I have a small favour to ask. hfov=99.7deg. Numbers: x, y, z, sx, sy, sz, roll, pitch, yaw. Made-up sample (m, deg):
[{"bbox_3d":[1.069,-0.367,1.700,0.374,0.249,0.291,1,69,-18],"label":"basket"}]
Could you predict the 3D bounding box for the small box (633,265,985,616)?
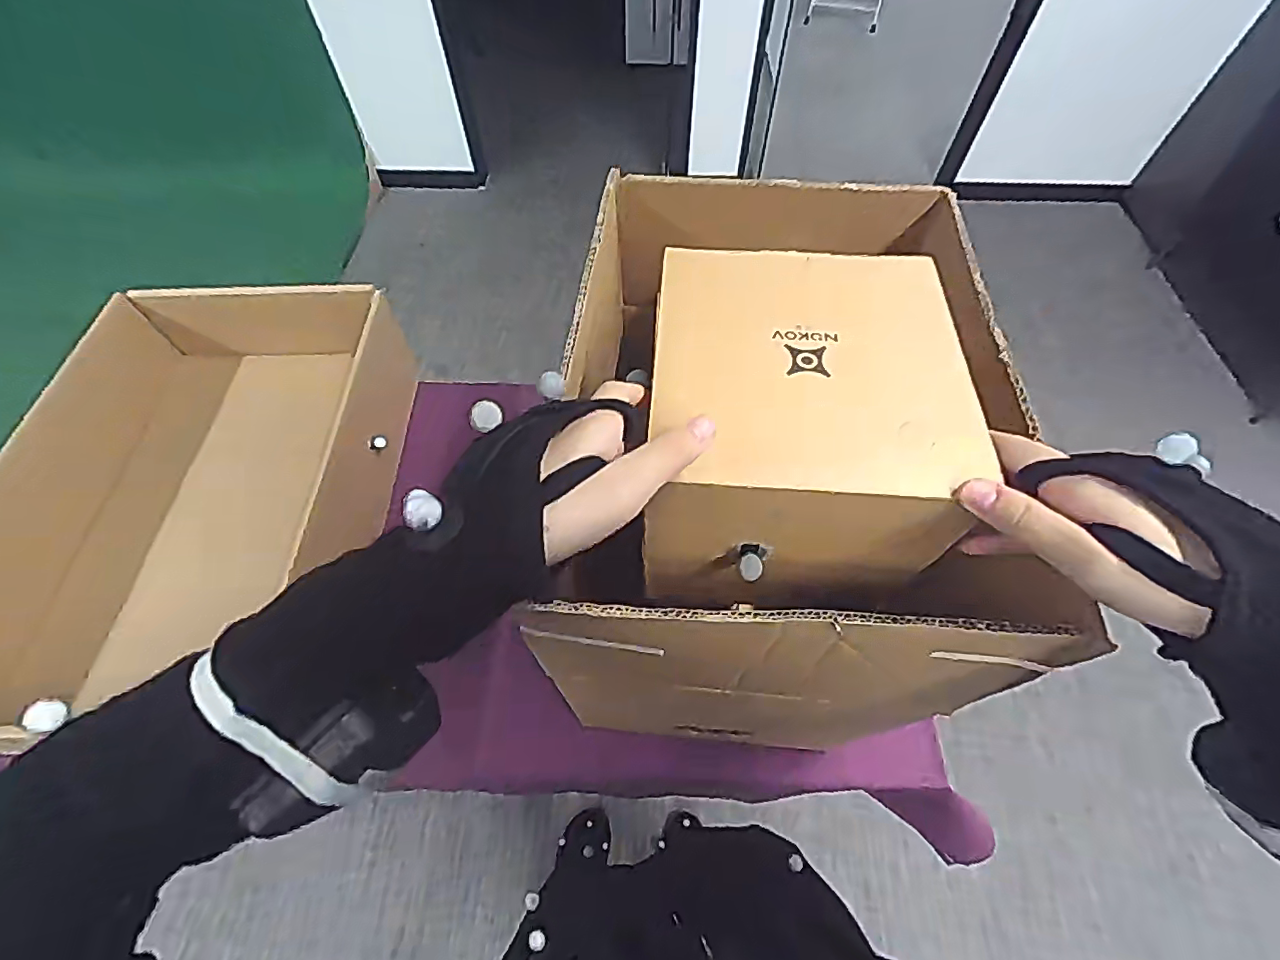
[{"bbox_3d":[0.088,-0.018,0.364,0.168,0.176,0.179,3,58,4],"label":"small box"}]
